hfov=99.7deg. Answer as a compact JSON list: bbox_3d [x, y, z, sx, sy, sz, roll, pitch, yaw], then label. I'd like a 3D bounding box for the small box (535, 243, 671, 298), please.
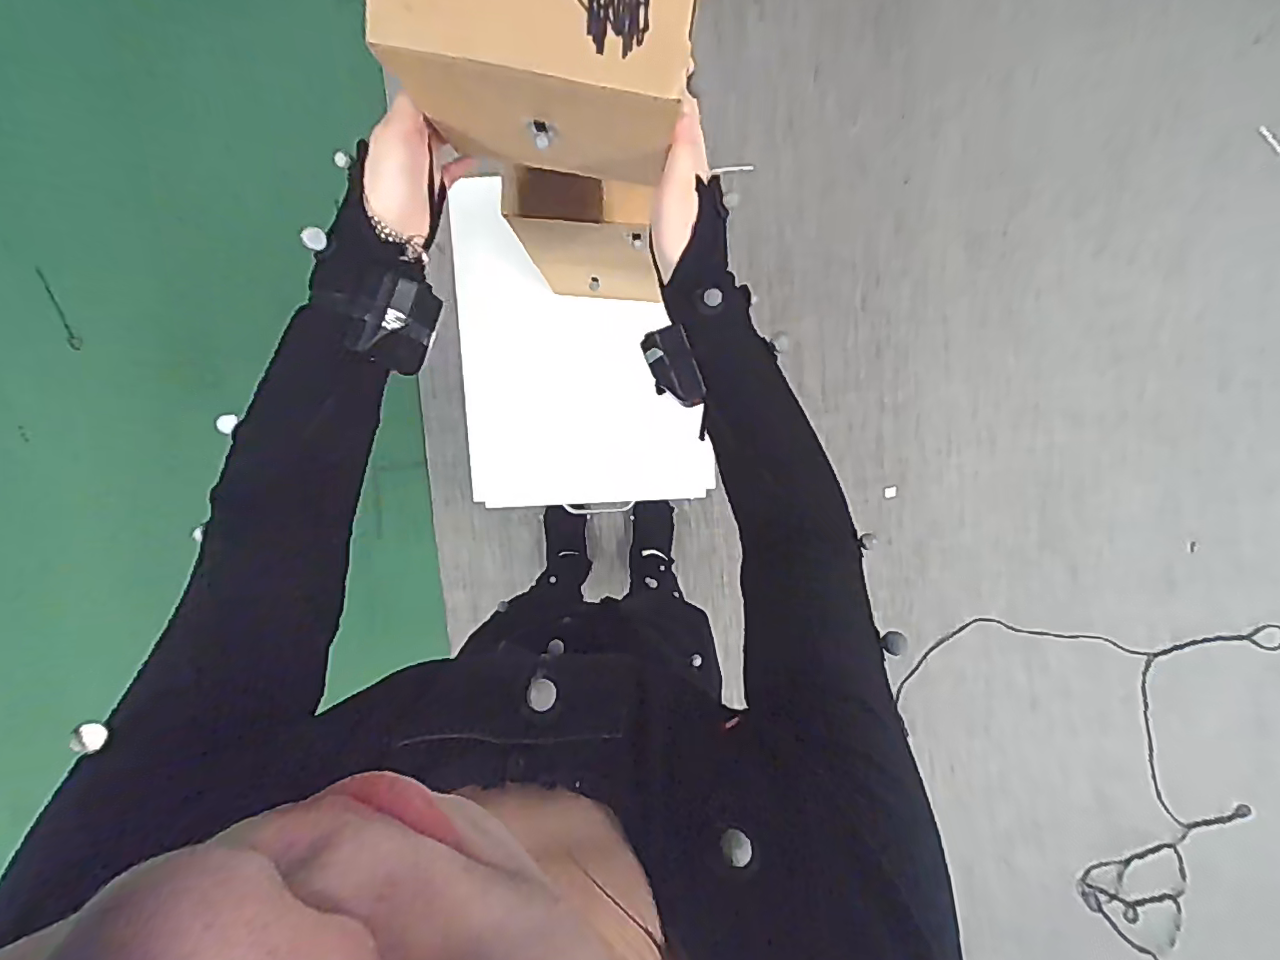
[{"bbox_3d":[-0.043,-0.363,0.762,0.179,0.176,0.168,4,96,0],"label":"small box"}]

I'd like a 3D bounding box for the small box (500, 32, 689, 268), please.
[{"bbox_3d":[-0.046,-0.345,0.600,0.179,0.176,0.168,3,95,-2],"label":"small box"}]
